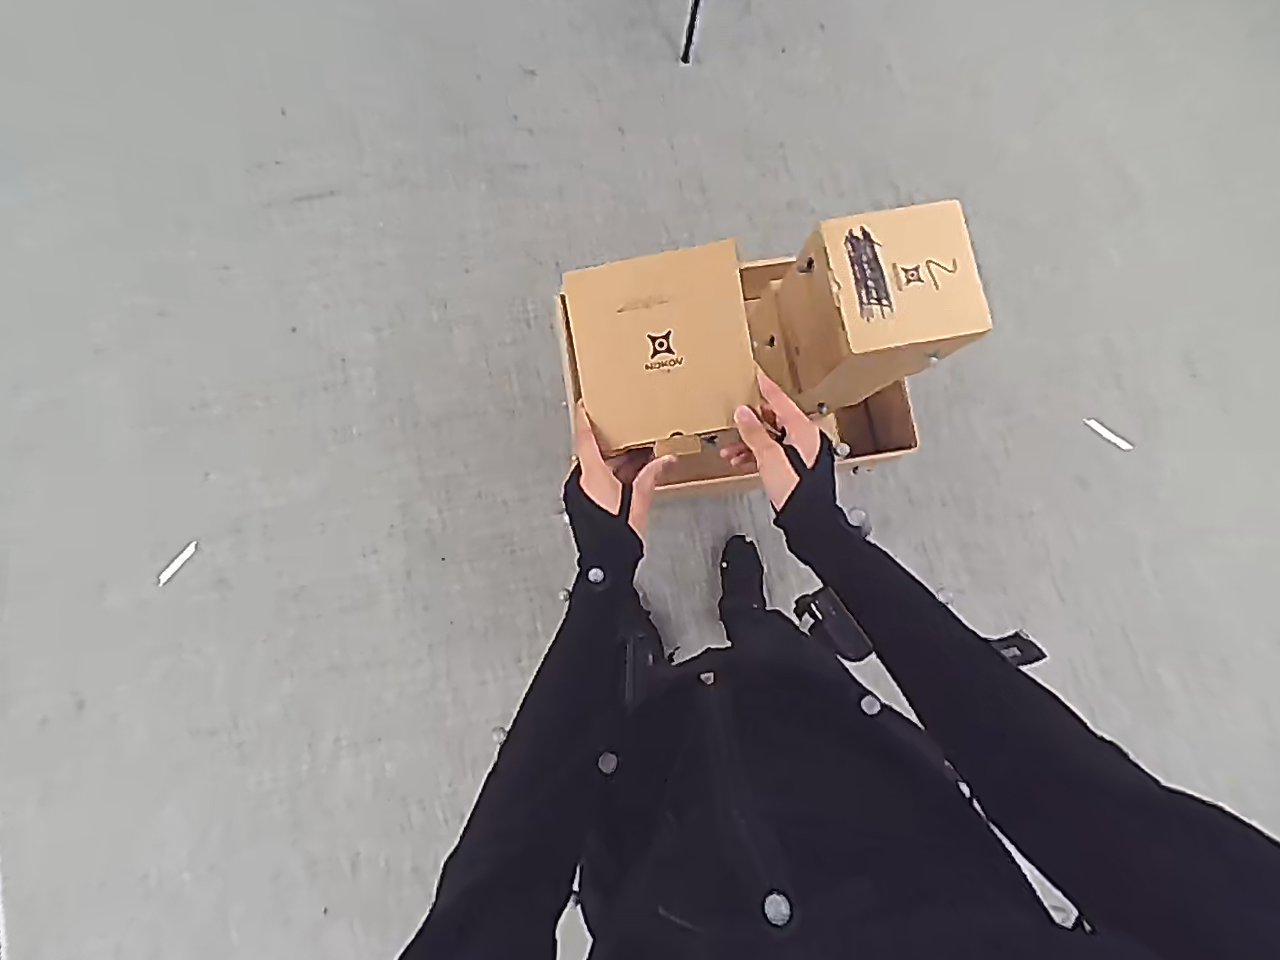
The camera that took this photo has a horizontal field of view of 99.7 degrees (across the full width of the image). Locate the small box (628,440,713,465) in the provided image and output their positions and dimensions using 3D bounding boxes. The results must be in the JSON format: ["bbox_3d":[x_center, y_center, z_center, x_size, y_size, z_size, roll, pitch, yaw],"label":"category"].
[{"bbox_3d":[0.042,-0.139,1.014,0.168,0.176,0.179,-14,84,-4],"label":"small box"}]

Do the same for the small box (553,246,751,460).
[{"bbox_3d":[0.017,-0.122,0.584,0.168,0.176,0.179,-10,92,3],"label":"small box"}]
